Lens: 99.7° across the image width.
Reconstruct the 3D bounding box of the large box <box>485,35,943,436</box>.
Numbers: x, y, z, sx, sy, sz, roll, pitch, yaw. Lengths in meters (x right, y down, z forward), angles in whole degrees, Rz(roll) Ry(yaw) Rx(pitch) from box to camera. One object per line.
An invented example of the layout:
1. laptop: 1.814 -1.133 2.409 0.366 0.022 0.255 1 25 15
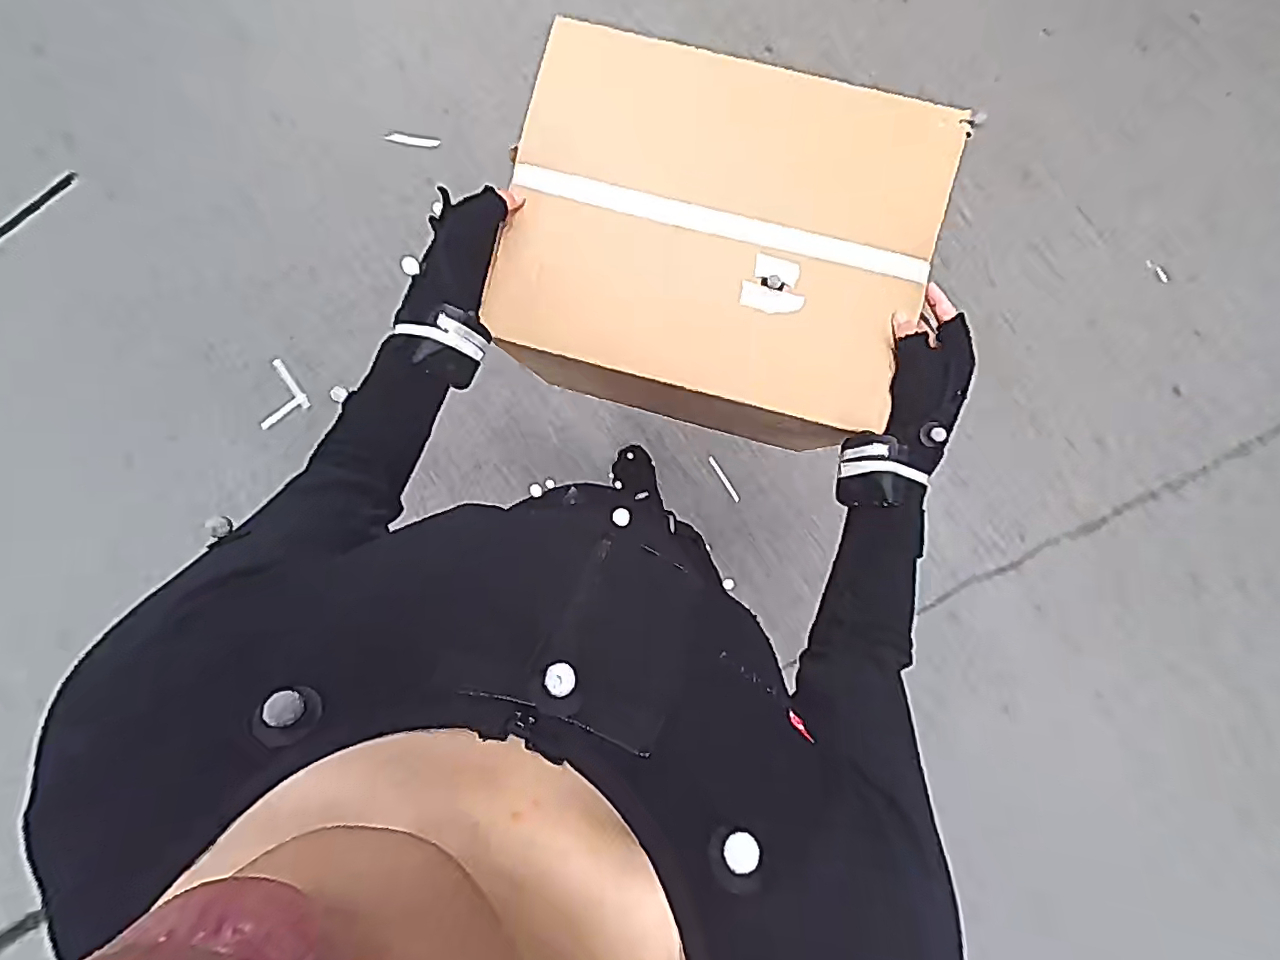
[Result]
1. large box: 0.073 -0.255 0.680 0.408 0.320 0.320 14 92 2
